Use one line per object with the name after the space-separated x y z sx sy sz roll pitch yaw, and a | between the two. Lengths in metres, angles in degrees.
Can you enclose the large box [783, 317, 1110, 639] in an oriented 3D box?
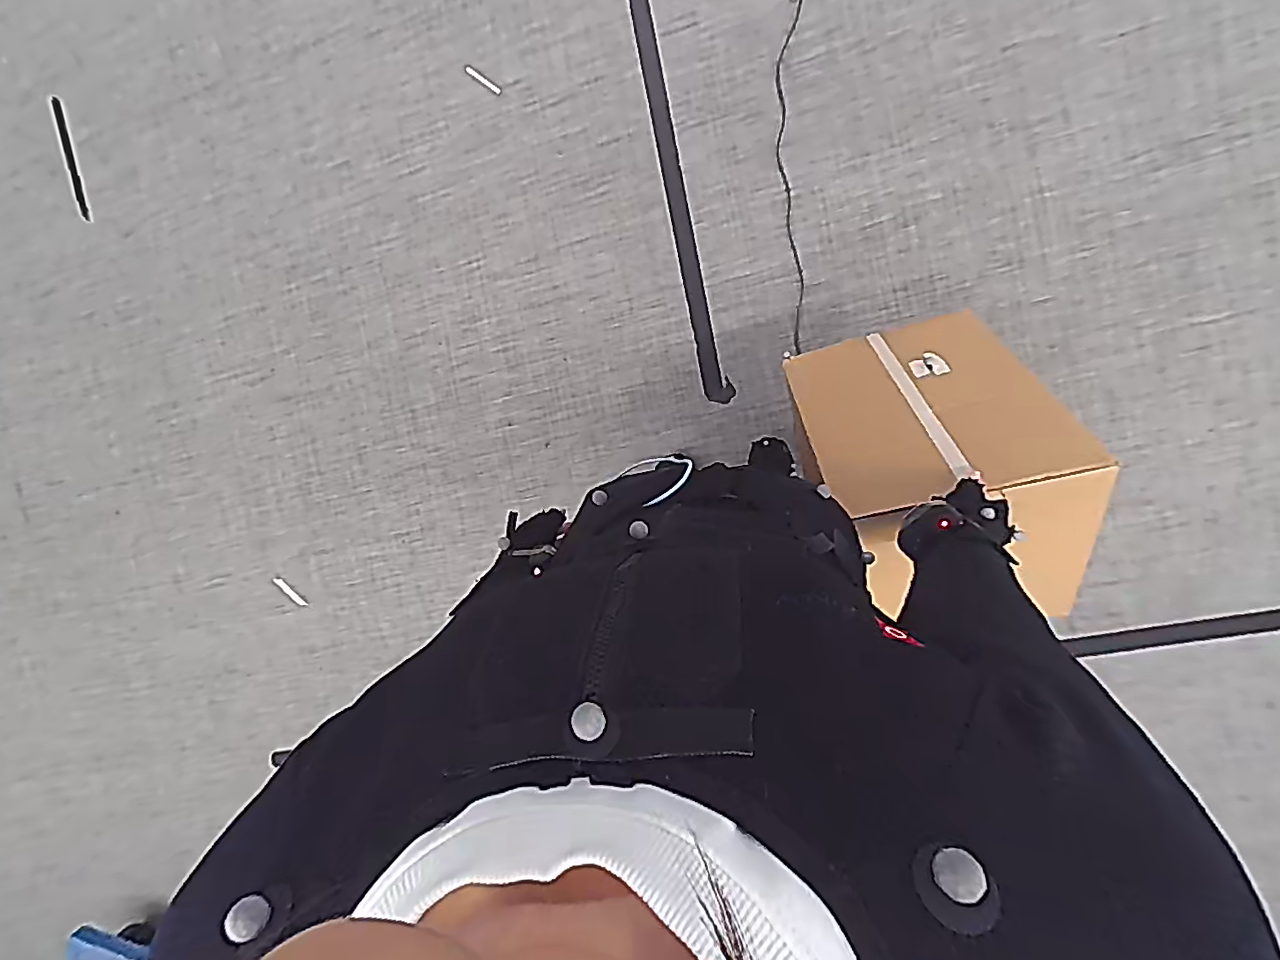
0.456 -0.009 0.904 0.320 0.408 0.320 -13 130 11 | large box
